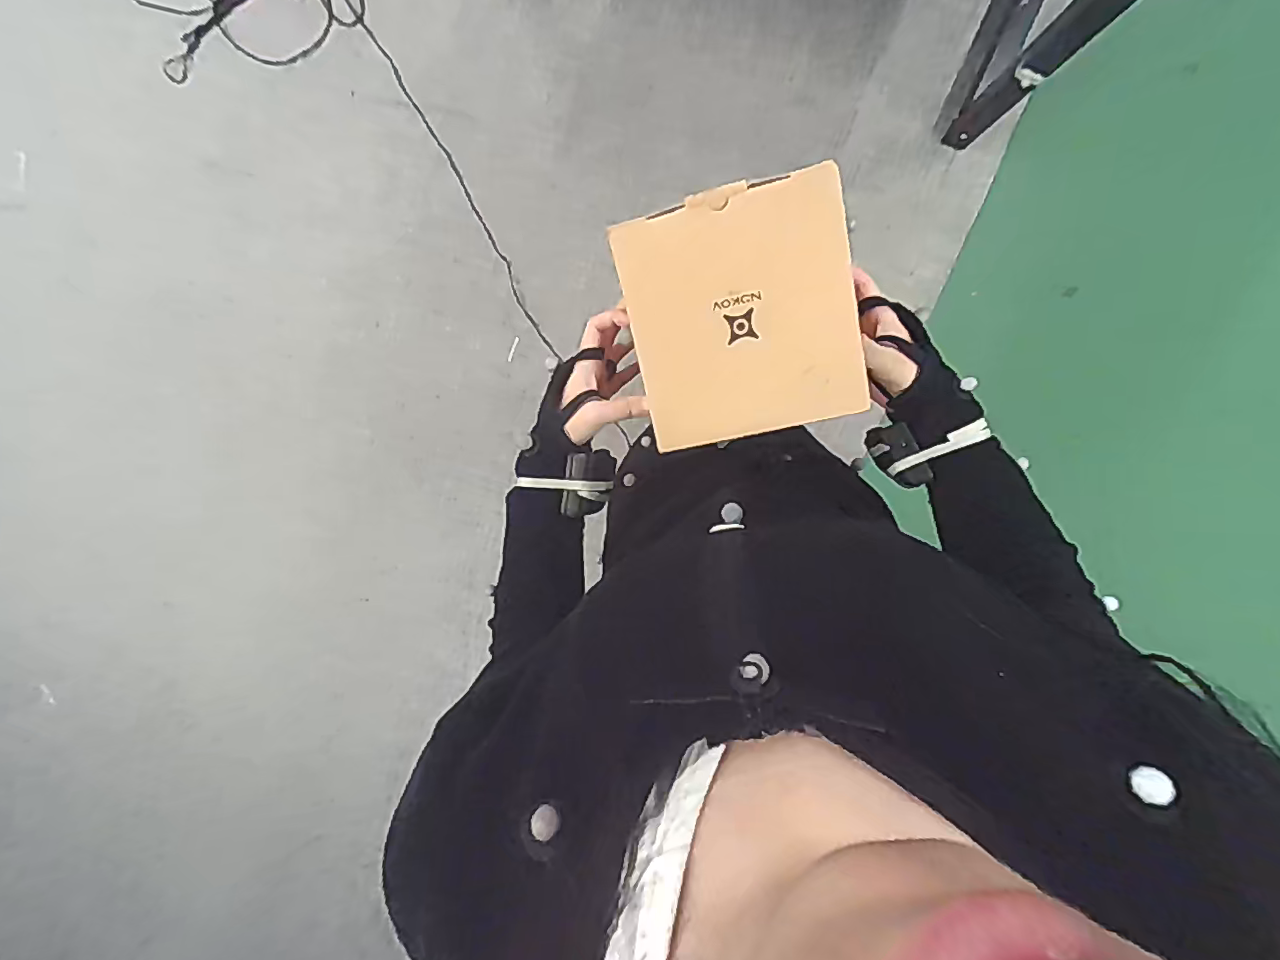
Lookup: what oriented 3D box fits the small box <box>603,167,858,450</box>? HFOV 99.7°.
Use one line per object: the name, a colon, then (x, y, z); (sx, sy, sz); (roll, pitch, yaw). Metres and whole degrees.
small box: (0.082, -0.141, 0.481); (0.168, 0.176, 0.179); (-11, 102, 12)
